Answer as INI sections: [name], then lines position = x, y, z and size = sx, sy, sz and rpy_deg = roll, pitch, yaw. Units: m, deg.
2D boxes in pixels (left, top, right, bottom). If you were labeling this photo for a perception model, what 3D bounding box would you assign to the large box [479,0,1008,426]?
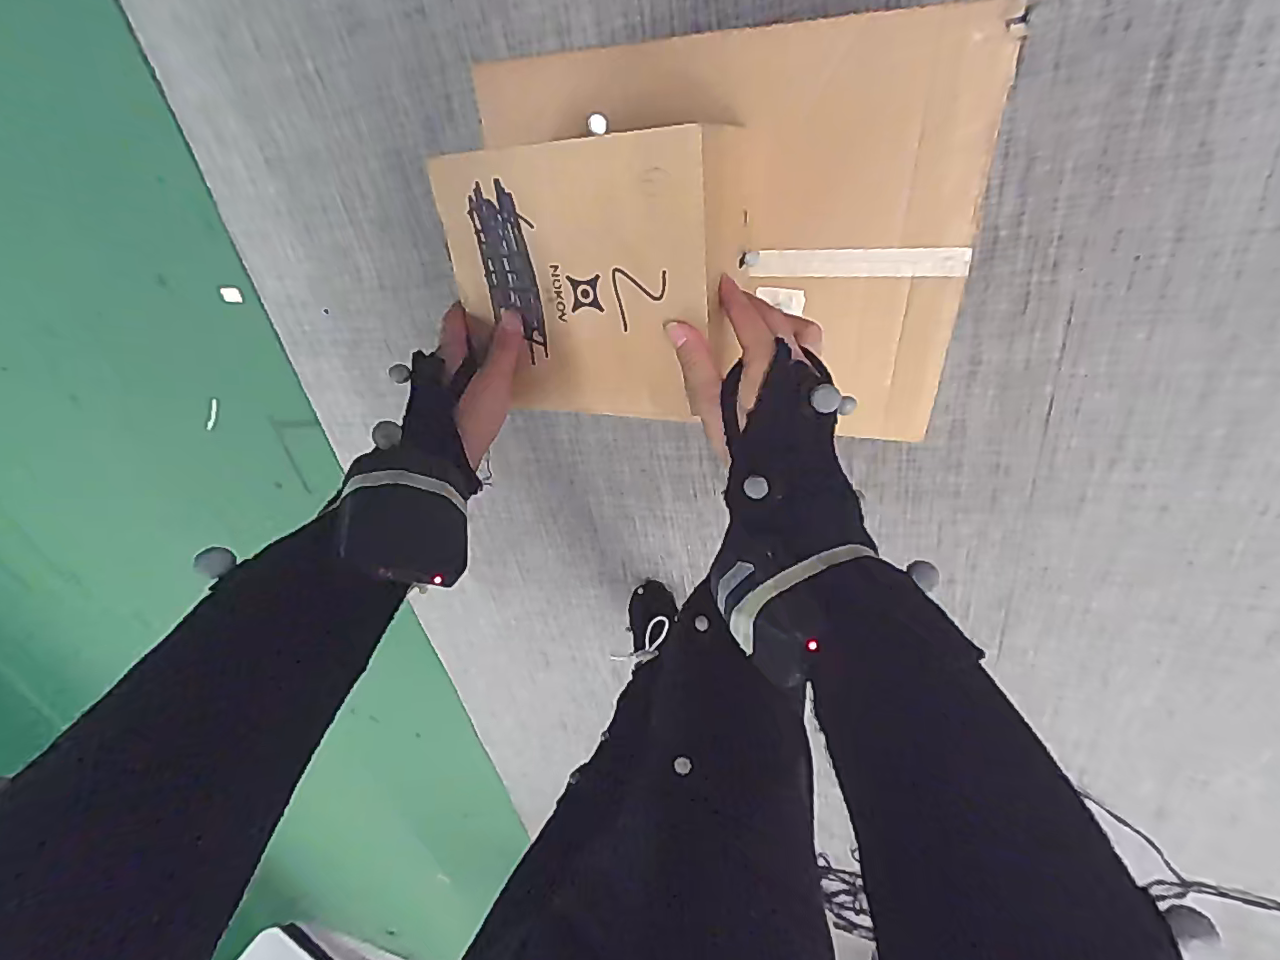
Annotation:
[large box]
position = 0.103, -0.269, 0.600
size = 0.408, 0.320, 0.320
rpy_deg = 5, 123, 17
